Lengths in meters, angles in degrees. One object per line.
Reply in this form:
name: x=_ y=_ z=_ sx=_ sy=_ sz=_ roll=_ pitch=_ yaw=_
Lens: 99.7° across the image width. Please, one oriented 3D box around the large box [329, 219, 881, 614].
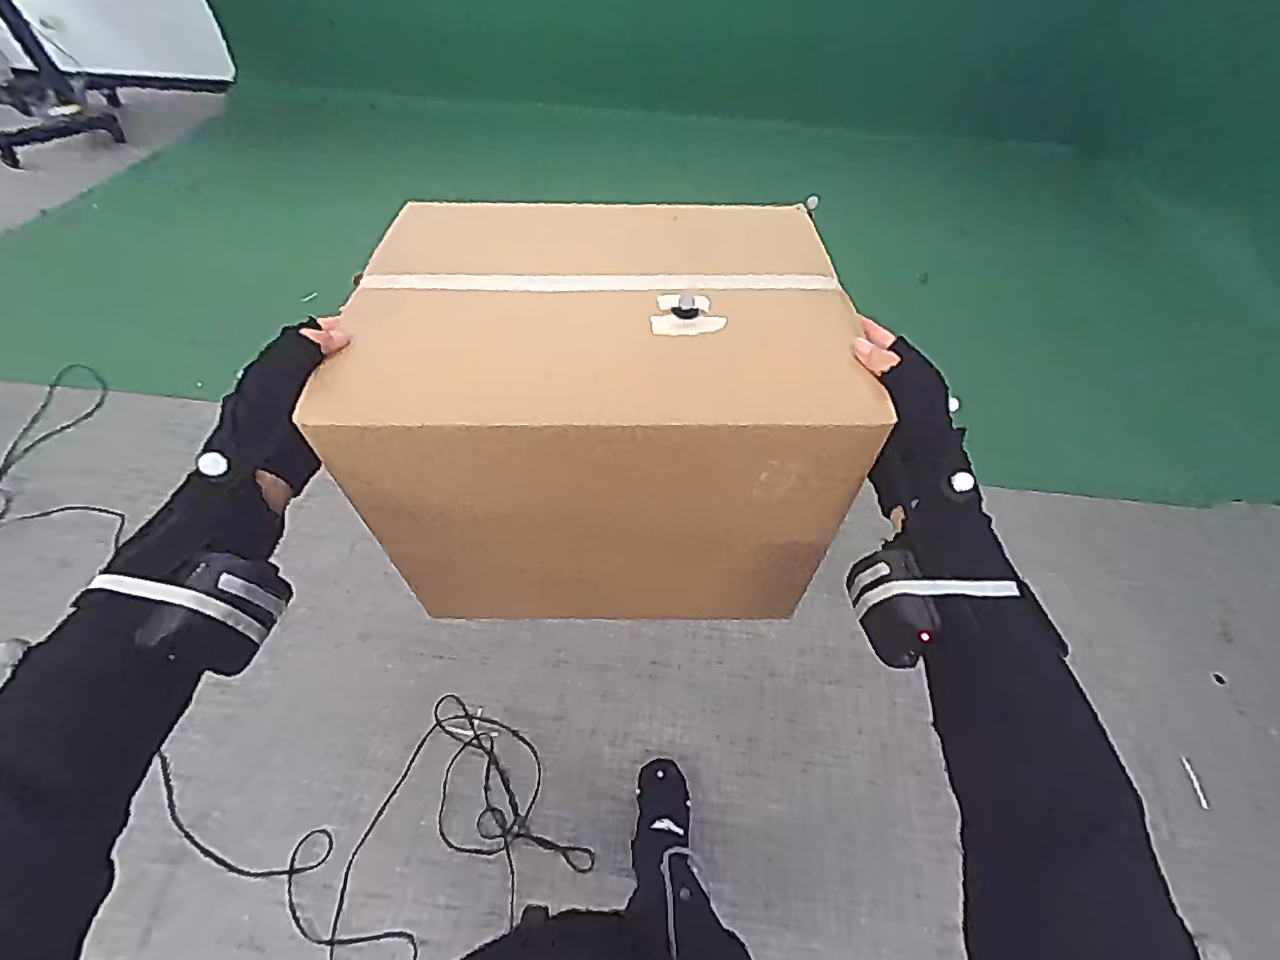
large box: x=-0.031 y=-0.063 z=0.591 sx=0.408 sy=0.320 sz=0.320 roll=0 pitch=52 yaw=-2
